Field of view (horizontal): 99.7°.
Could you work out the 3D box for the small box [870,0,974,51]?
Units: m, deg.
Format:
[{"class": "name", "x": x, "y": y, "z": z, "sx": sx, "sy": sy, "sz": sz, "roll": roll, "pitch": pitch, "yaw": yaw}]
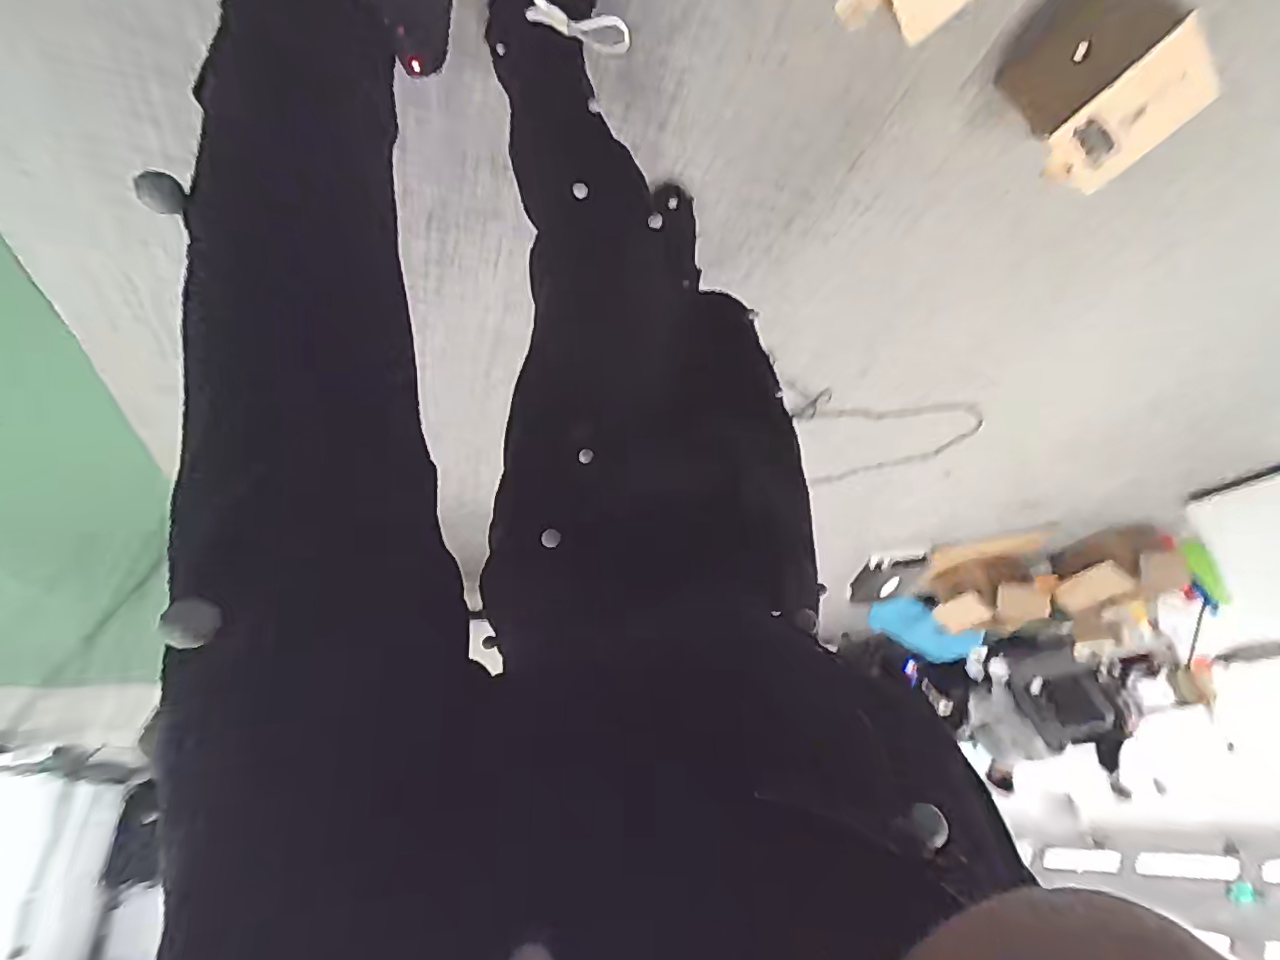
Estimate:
[{"class": "small box", "x": 0.327, "y": -0.649, "z": 0.596, "sx": 0.179, "sy": 0.176, "sz": 0.168, "roll": -29, "pitch": 144, "yaw": 34}]
